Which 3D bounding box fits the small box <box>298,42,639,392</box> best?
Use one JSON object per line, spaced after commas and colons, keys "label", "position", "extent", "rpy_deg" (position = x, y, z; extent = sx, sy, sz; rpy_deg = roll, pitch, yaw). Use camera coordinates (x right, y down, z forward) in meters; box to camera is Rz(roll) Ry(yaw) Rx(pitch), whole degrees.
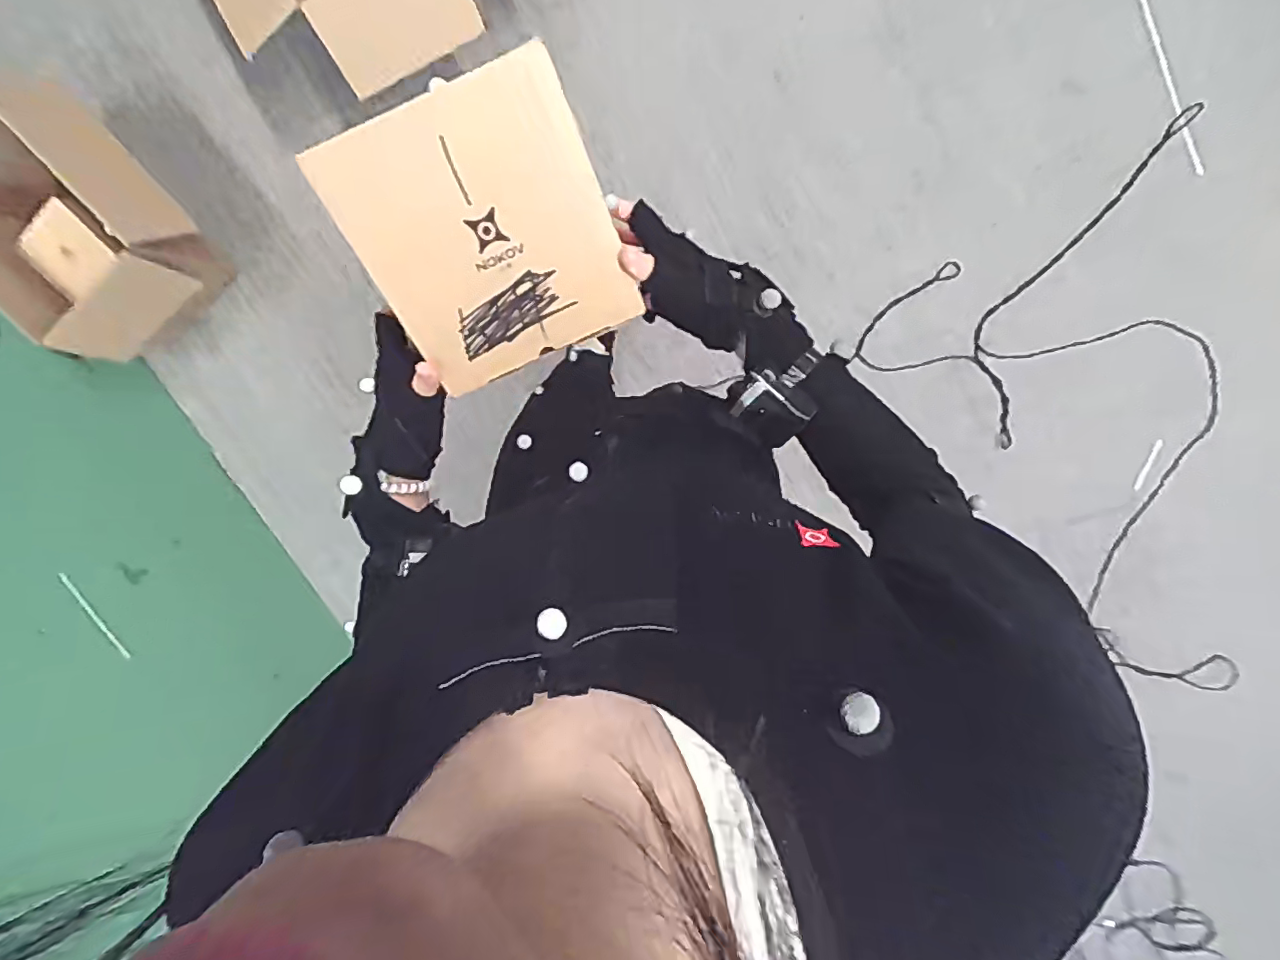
{"label": "small box", "position": [-0.116, -0.204, 0.432], "extent": [0.168, 0.176, 0.179], "rpy_deg": [-24, 123, 2]}
